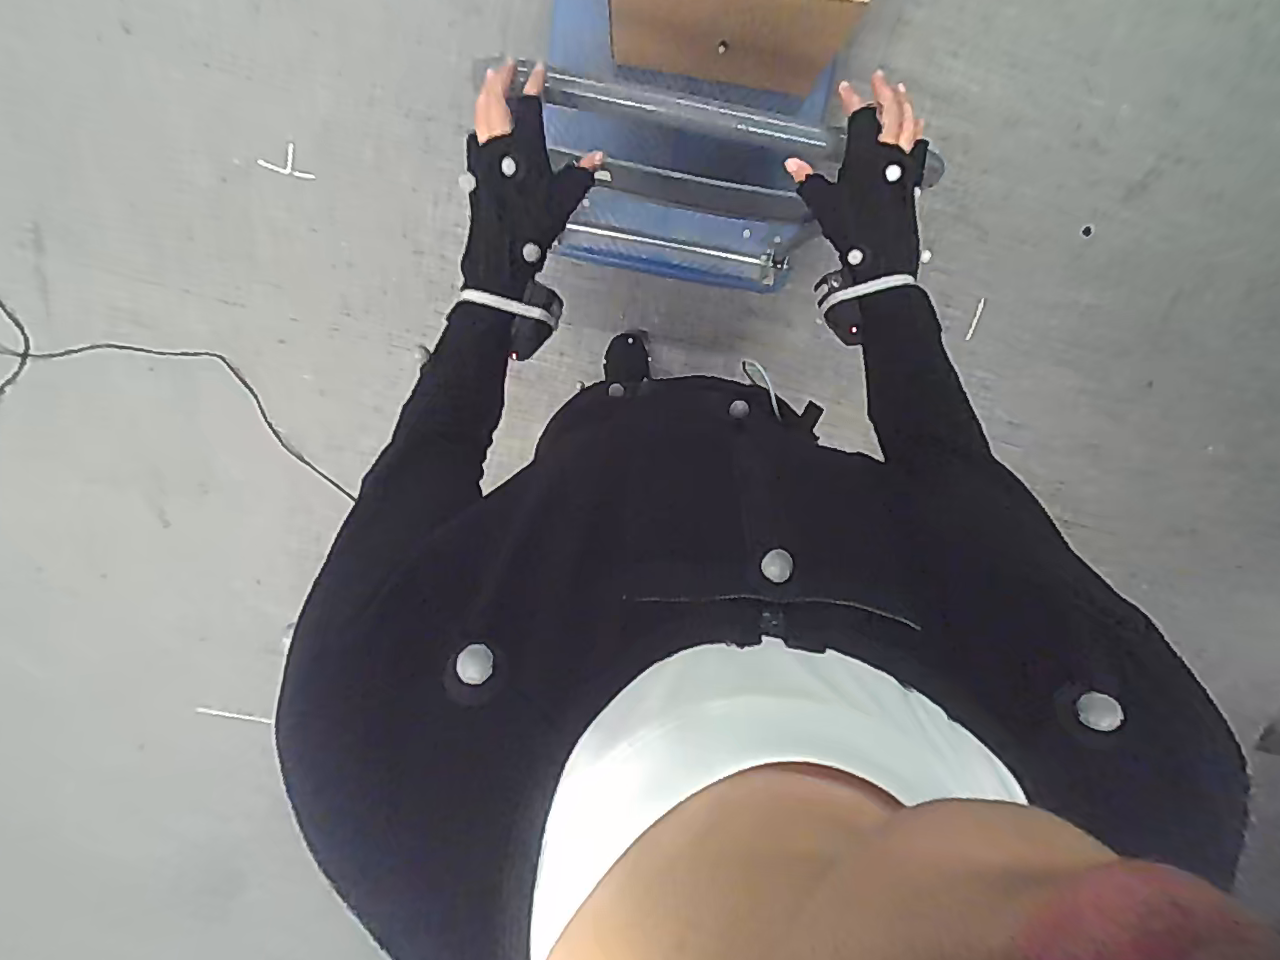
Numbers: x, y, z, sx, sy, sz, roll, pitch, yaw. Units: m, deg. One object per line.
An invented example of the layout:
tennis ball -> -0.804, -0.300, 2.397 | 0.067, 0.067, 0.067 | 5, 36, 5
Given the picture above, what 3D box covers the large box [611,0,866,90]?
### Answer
large box -> 0.167, -0.933, 0.931 | 0.408, 0.320, 0.320 | 7, 102, -3
